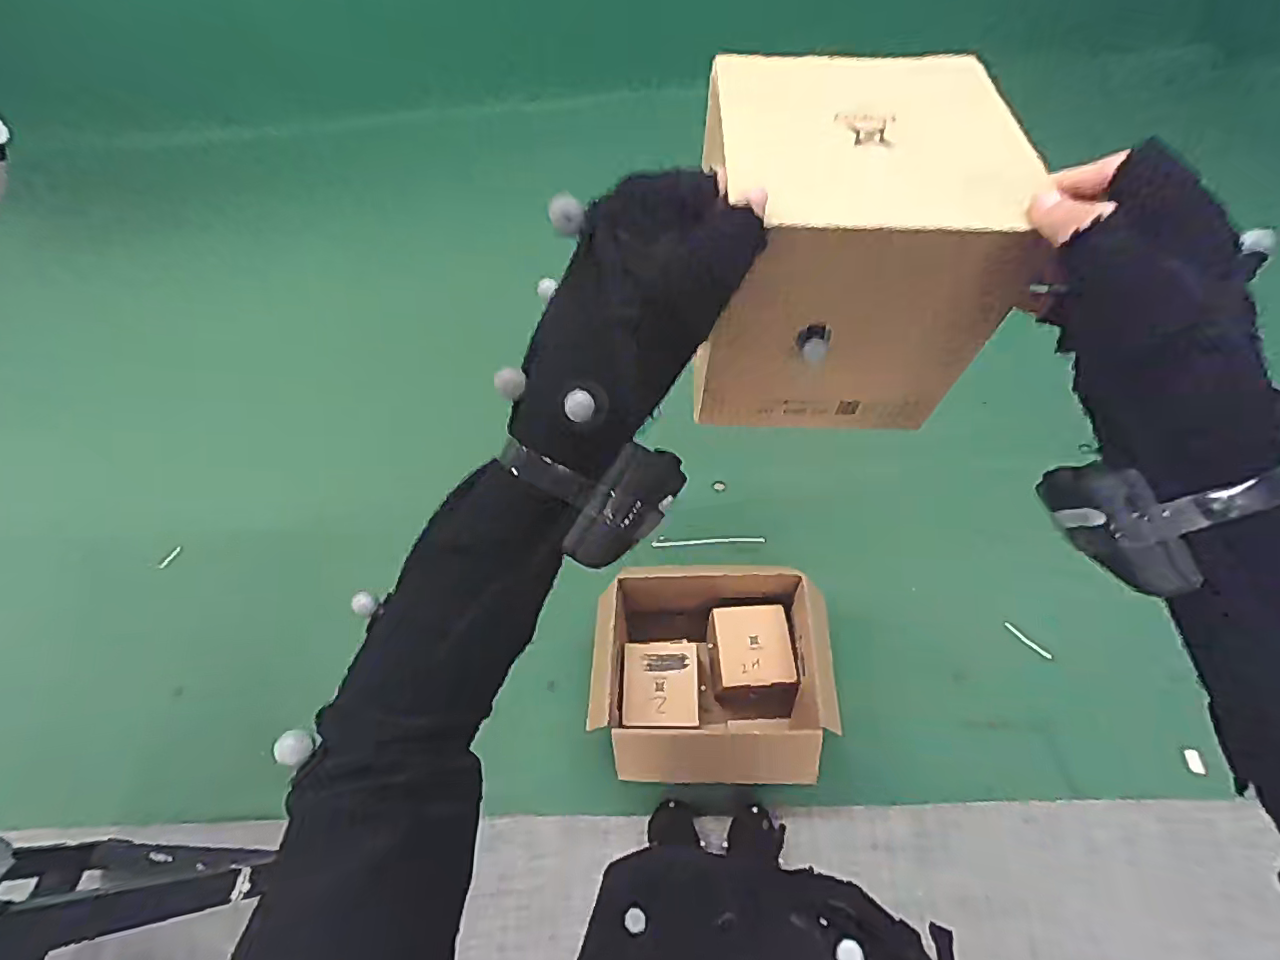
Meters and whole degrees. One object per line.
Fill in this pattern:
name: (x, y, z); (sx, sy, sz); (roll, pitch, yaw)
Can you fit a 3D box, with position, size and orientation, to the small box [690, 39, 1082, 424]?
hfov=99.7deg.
small box: (0.122, -0.152, 0.356); (0.168, 0.176, 0.179); (1, 59, 1)
